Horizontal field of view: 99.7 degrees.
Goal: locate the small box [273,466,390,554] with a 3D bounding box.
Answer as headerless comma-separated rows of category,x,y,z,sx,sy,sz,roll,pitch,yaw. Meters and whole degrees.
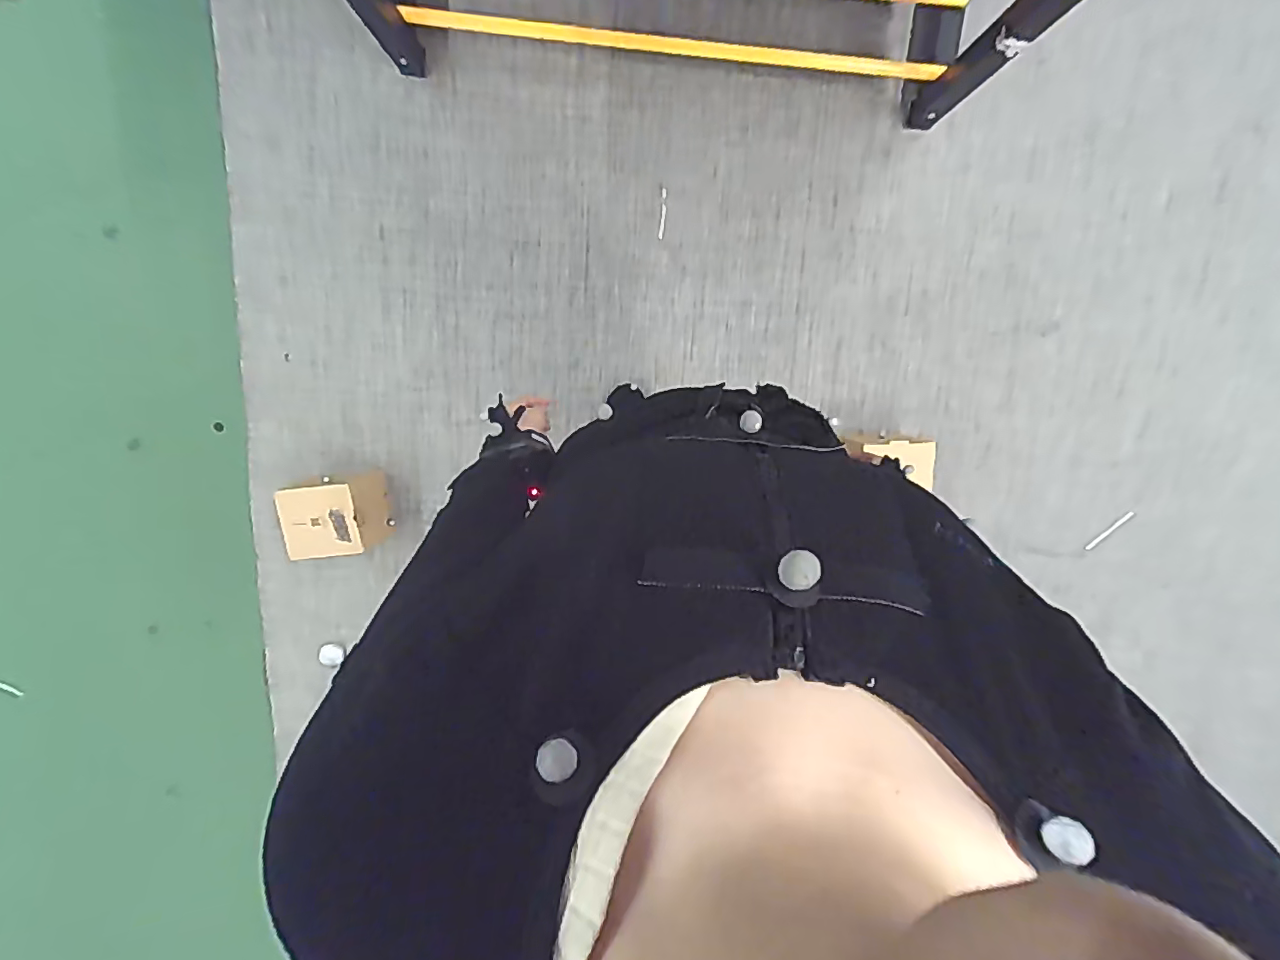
small box,-0.719,0.066,1.287,0.179,0.176,0.168,-6,101,1

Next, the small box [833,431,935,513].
small box,0.571,-0.026,1.287,0.168,0.176,0.179,-1,101,-1
